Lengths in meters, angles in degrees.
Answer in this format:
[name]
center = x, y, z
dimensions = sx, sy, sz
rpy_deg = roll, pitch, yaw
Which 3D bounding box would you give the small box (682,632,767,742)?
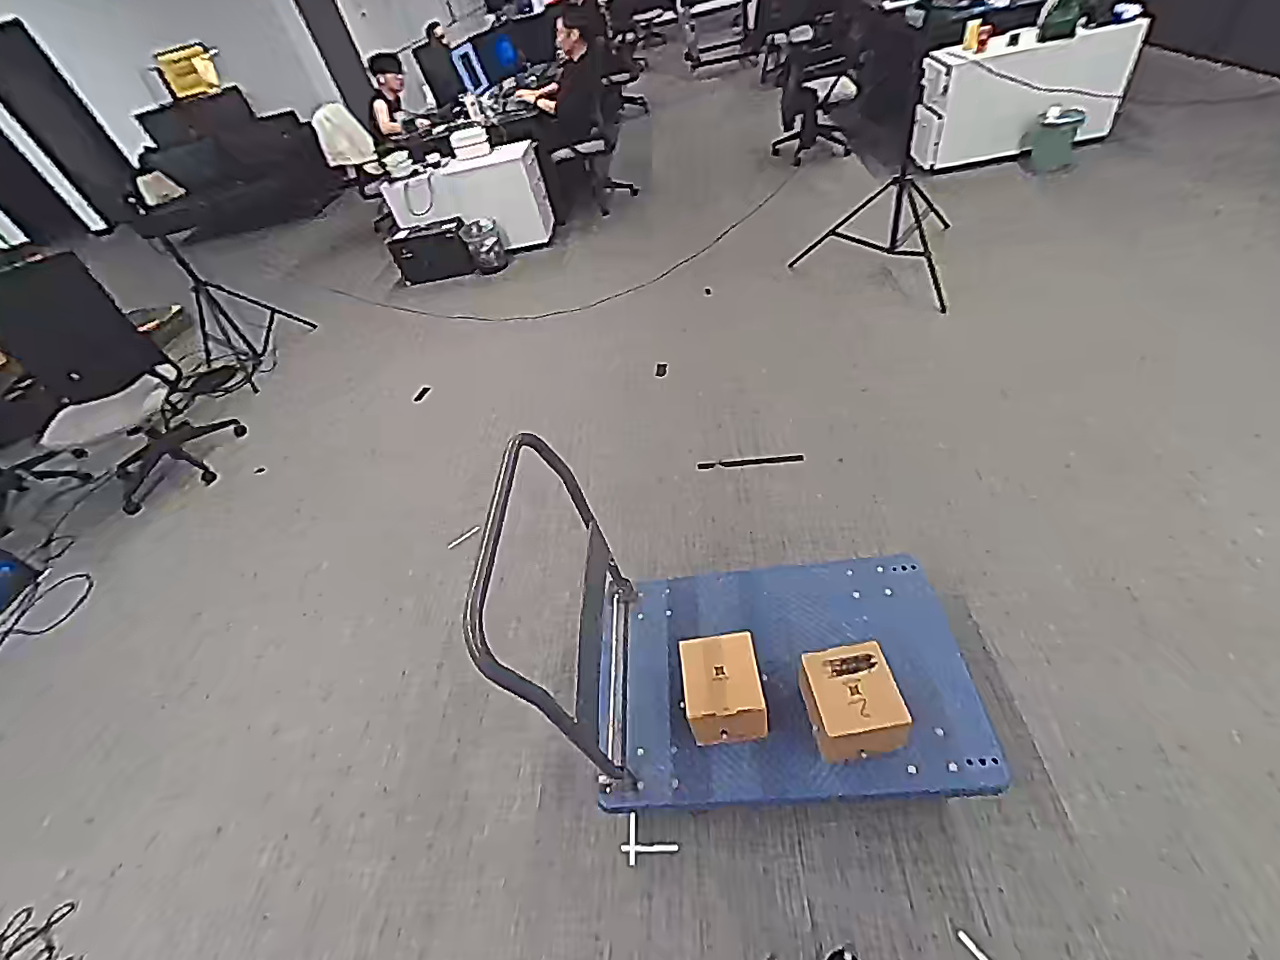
[small box]
center = 0.191, 0.472, 1.231
dimensions = 0.168, 0.176, 0.179
rpy_deg = -10, 46, 5
